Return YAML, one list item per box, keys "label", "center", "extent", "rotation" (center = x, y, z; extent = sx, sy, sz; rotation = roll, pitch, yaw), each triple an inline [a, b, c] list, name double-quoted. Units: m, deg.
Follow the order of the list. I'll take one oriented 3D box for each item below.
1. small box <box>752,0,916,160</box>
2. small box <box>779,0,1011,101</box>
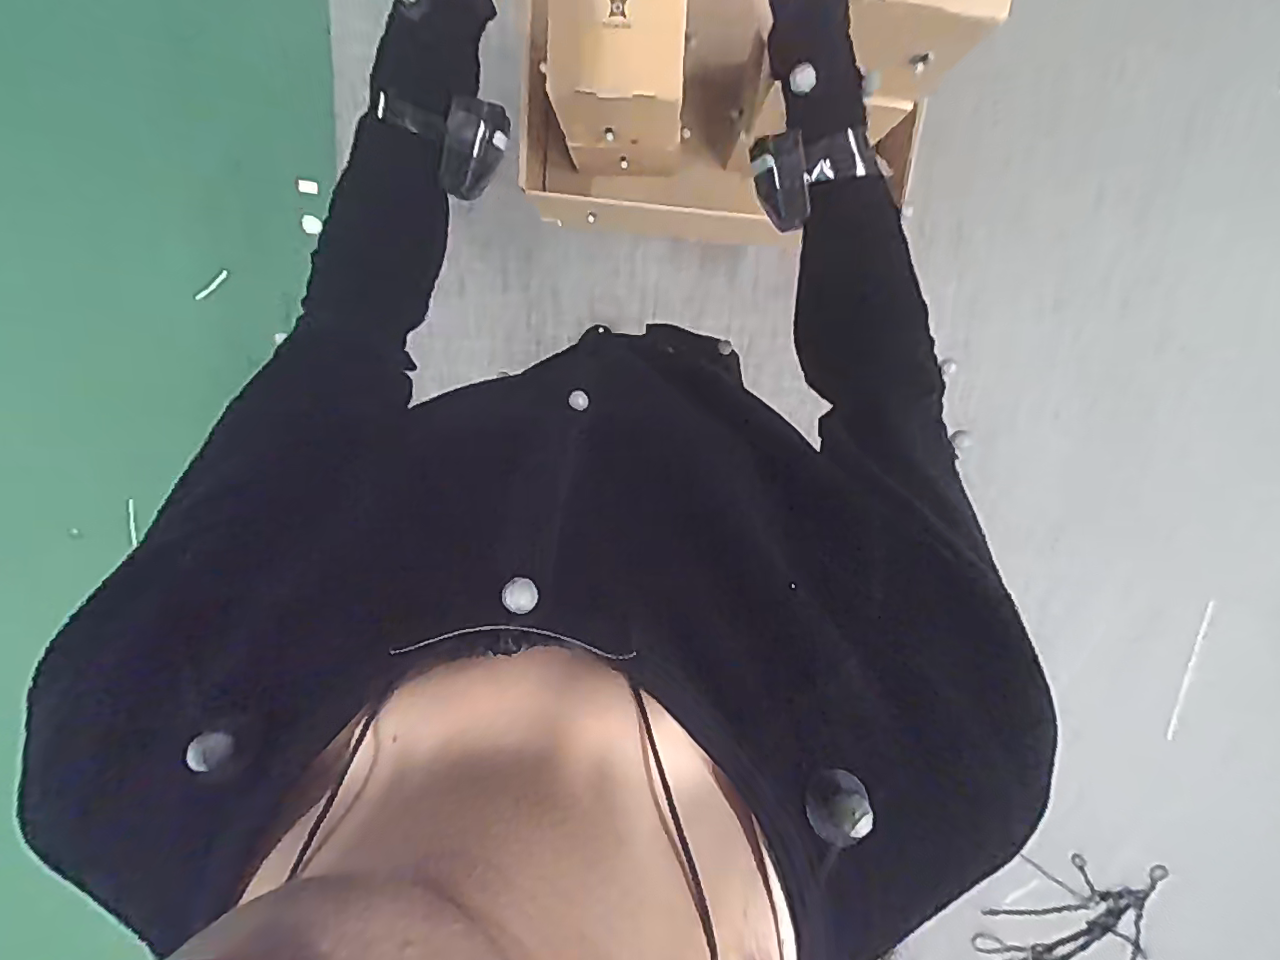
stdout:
- label: "small box"
  center: [0.256, -0.547, 0.709]
  extent: [0.179, 0.176, 0.168]
  rotation: [9, 103, -1]
- label: "small box"
  center: [0.259, -0.519, 0.548]
  extent: [0.179, 0.176, 0.168]
  rotation: [9, 102, 0]
